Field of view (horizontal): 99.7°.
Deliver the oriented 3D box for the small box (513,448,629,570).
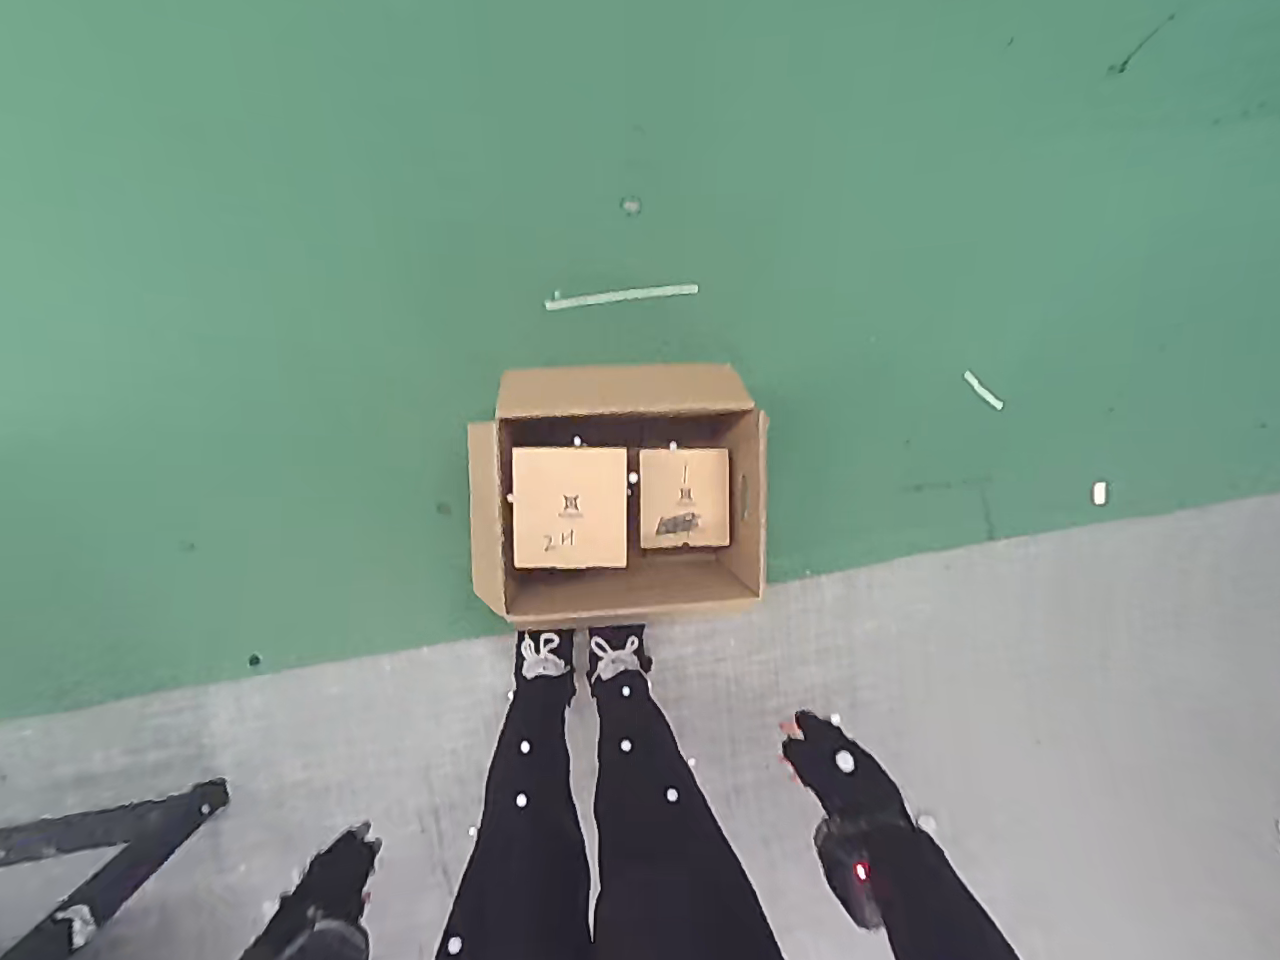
[{"bbox_3d":[-0.106,0.039,0.863,0.168,0.176,0.179,1,94,-3],"label":"small box"}]
